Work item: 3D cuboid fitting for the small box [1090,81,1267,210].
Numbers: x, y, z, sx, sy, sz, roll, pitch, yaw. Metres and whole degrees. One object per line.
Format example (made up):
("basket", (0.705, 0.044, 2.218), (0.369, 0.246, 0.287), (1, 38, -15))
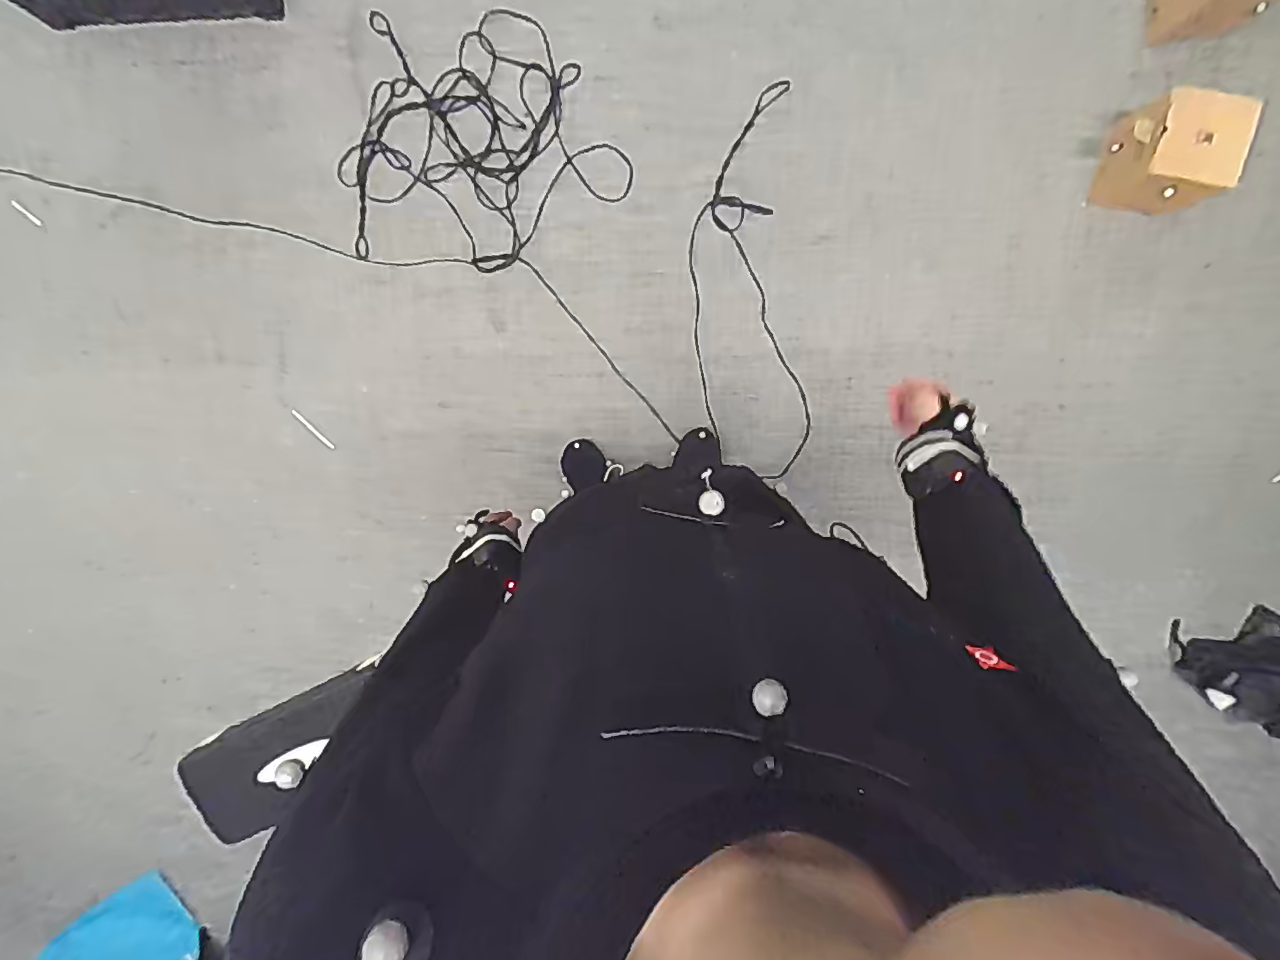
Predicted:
("small box", (1.119, -0.691, 1.139), (0.179, 0.176, 0.168), (11, 98, 2))
